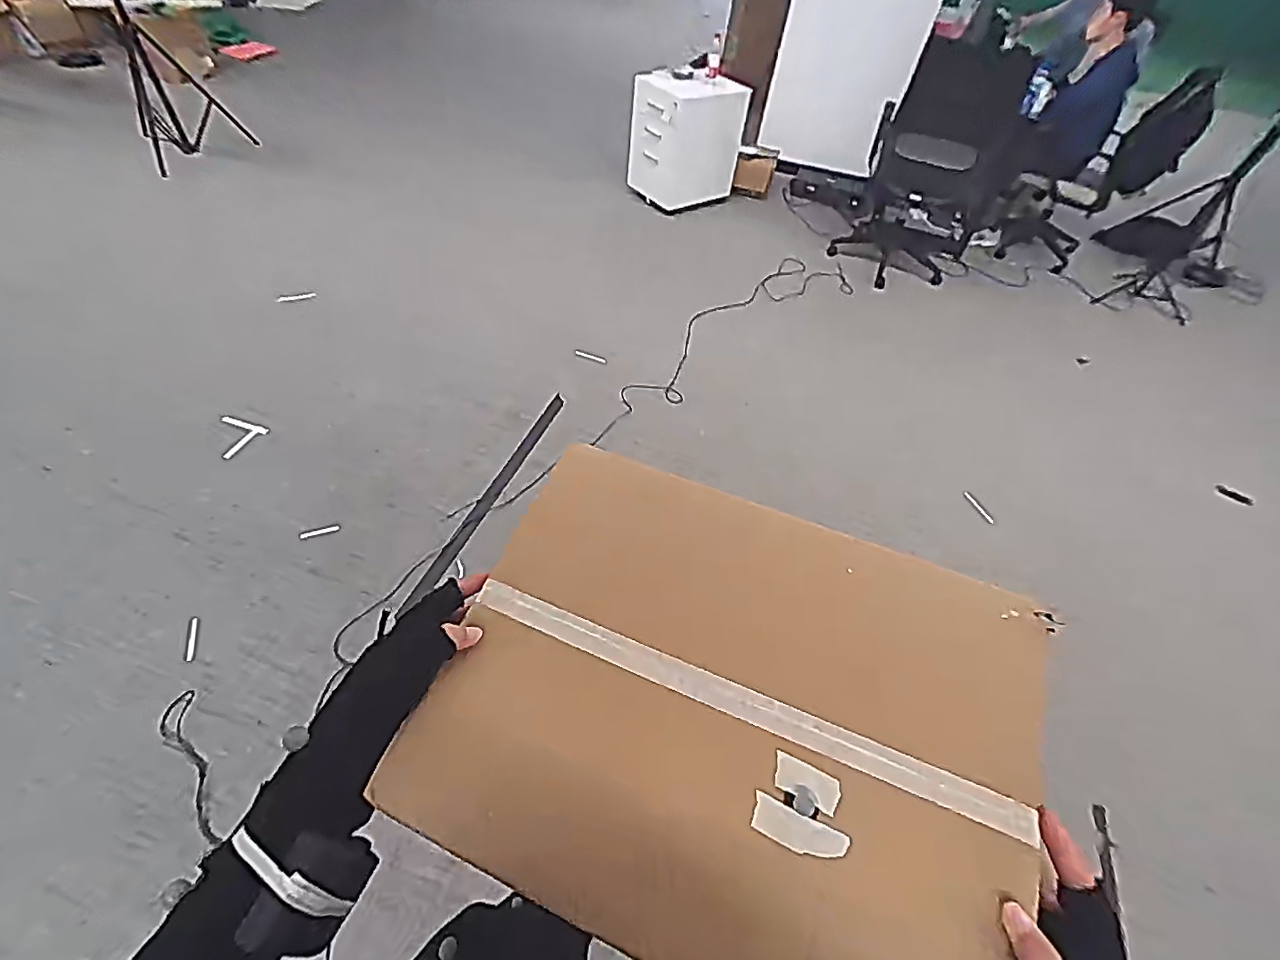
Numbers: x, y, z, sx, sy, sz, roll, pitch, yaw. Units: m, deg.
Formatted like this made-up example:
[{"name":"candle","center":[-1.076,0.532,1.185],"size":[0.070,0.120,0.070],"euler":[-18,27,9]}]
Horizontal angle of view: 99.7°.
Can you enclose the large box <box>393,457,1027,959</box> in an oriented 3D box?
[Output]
[{"name":"large box","center":[0.069,0.235,0.529],"size":[0.408,0.320,0.320],"euler":[20,63,14]}]
